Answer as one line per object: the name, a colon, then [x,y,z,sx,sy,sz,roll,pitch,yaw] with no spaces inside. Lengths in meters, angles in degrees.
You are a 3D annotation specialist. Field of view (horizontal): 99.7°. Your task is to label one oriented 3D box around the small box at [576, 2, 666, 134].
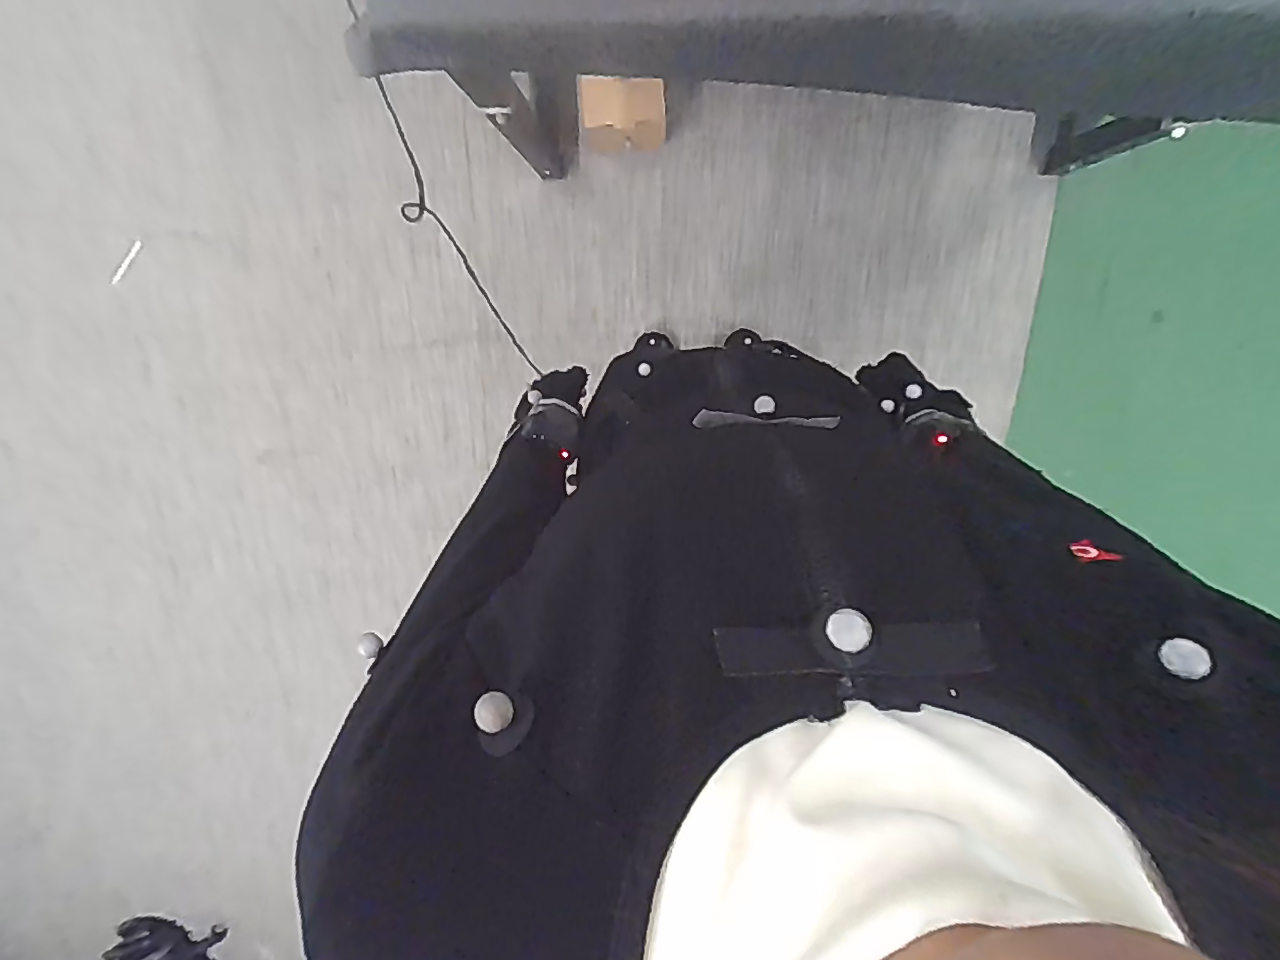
small box: [-0.032,-0.839,1.122,0.168,0.176,0.179,-3,108,3]
